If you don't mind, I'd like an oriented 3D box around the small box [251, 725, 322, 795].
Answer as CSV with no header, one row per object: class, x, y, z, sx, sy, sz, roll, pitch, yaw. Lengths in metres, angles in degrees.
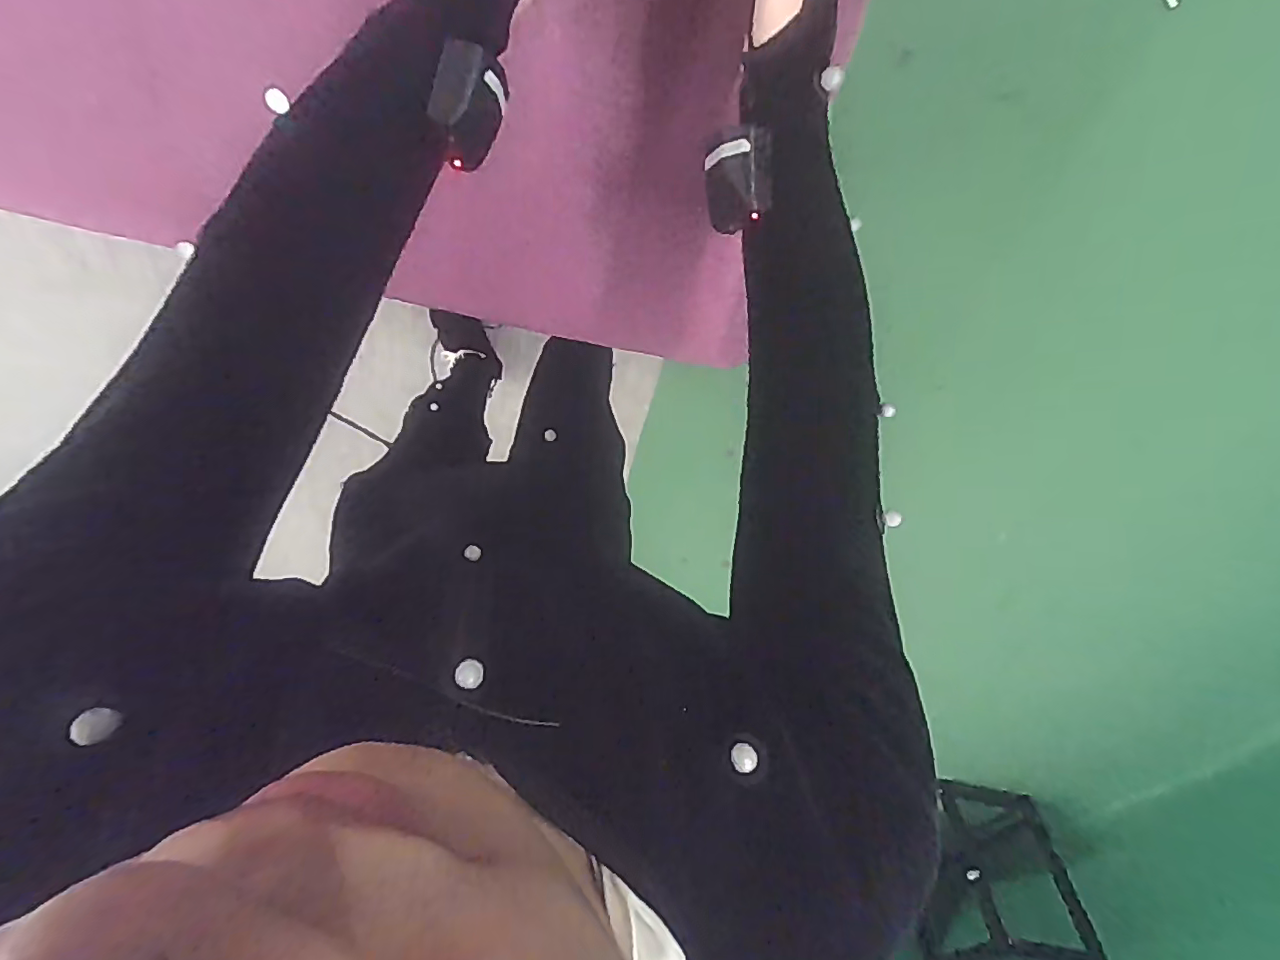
small box,-1.346,1.073,2.070,0.168,0.176,0.179,17,127,-8
